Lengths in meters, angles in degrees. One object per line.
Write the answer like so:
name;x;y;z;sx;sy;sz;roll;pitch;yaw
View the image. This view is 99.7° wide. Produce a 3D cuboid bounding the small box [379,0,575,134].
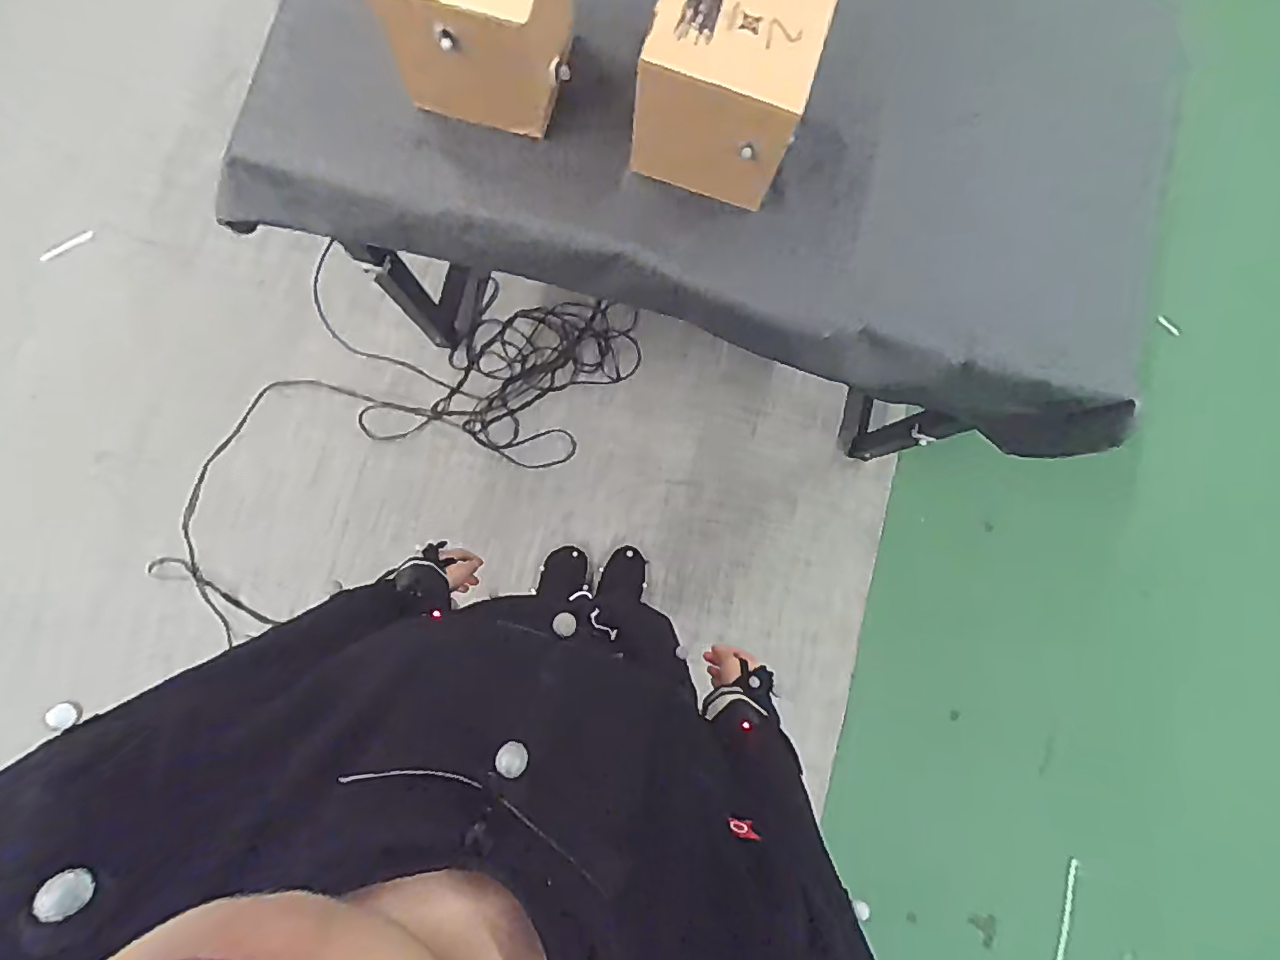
small box;-0.181;-0.546;0.626;0.179;0.176;0.168;15;84;-3
